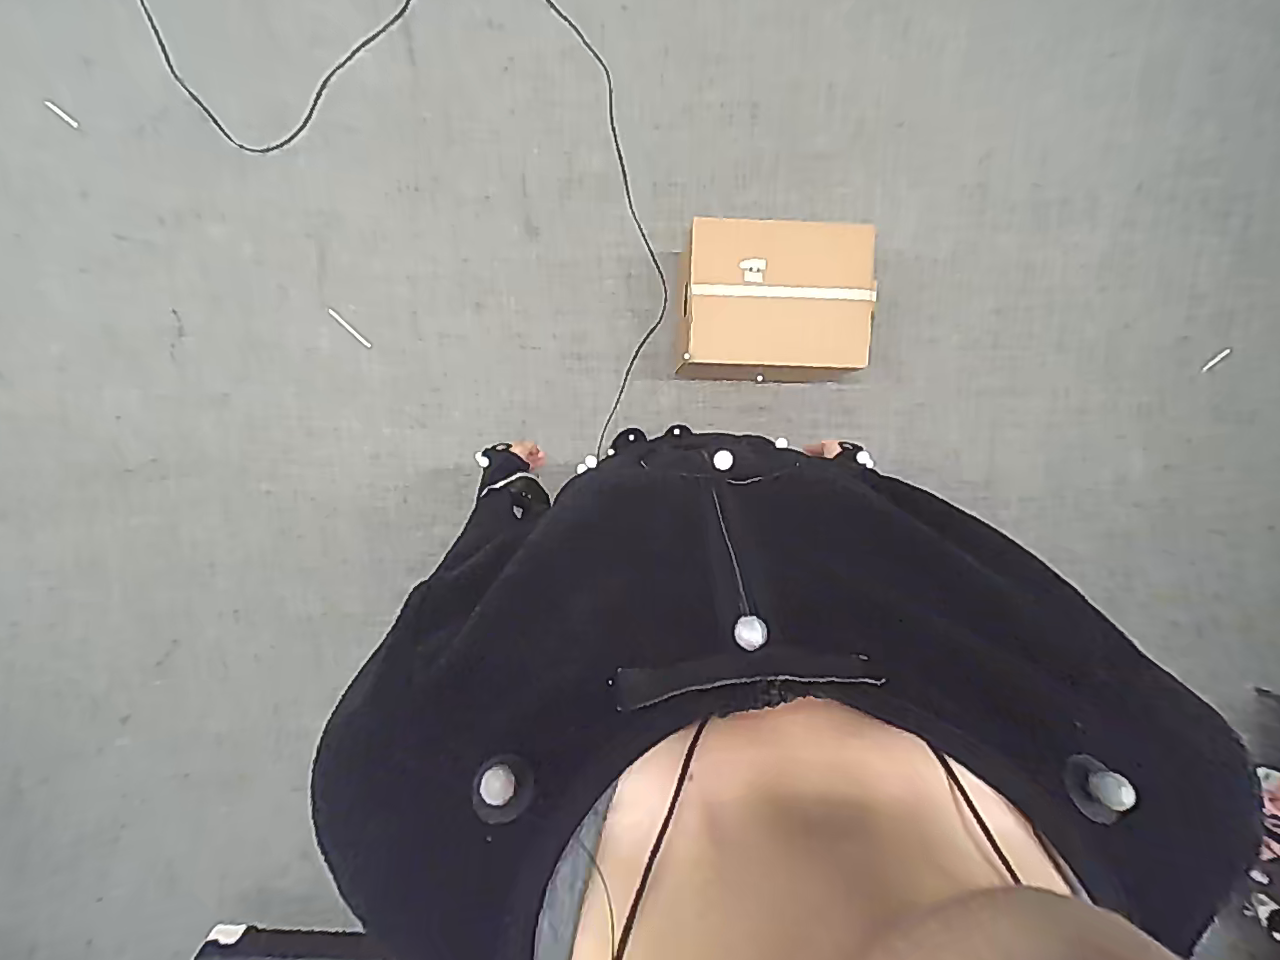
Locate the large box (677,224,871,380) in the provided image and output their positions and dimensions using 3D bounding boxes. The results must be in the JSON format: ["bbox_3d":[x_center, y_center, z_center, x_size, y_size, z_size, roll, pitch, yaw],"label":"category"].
[{"bbox_3d":[0.307,-0.416,1.339,0.408,0.320,0.320,1,94,-1],"label":"large box"}]
